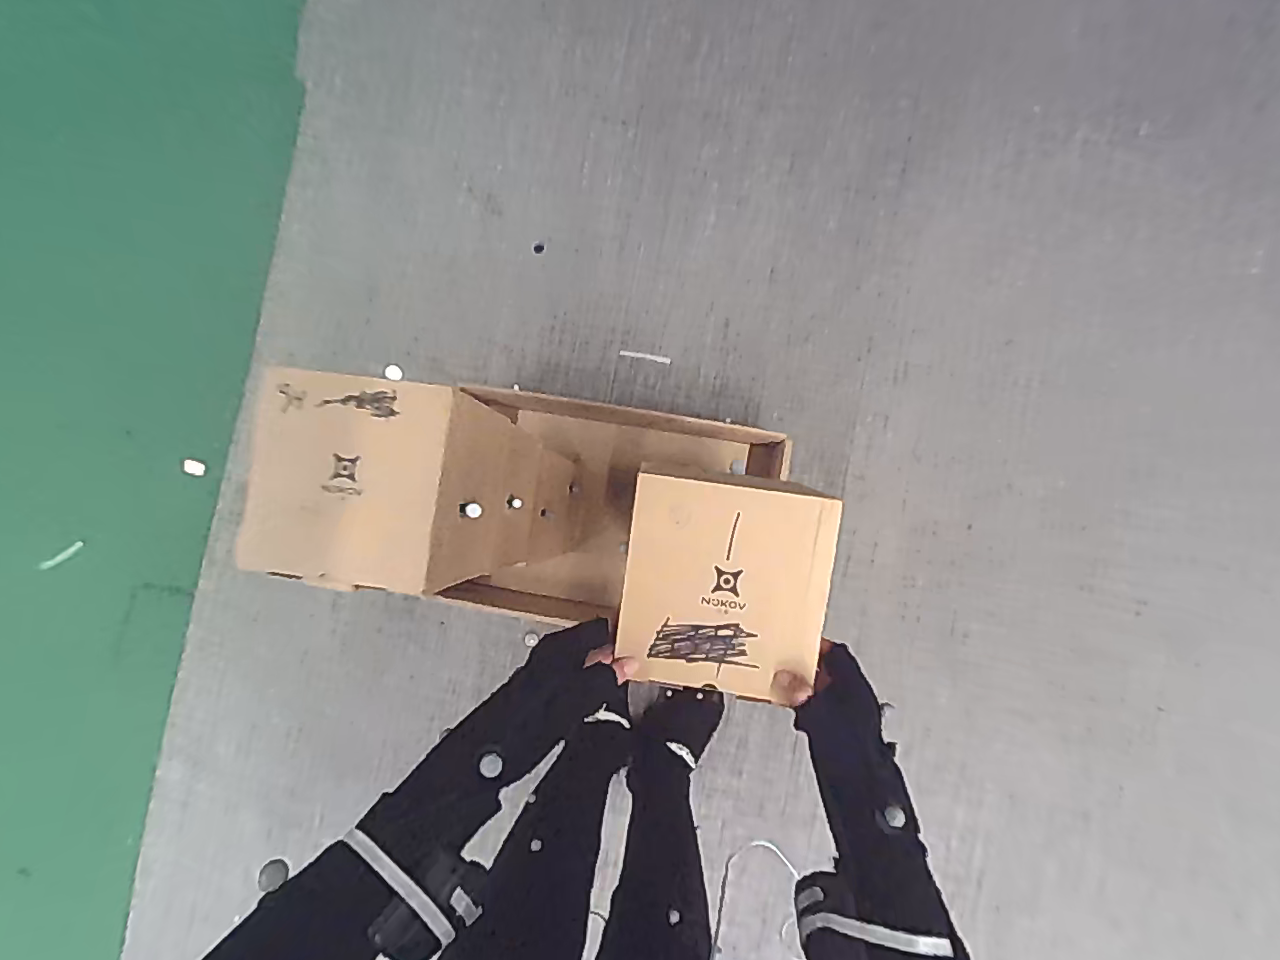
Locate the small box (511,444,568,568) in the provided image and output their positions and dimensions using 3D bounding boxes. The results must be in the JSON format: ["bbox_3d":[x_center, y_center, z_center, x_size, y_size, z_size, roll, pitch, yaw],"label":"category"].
[{"bbox_3d":[-0.216,0.029,0.843,0.168,0.176,0.179,9,88,4],"label":"small box"}]

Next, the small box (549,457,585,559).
[{"bbox_3d":[-0.205,0.039,1.006,0.168,0.176,0.179,11,88,5],"label":"small box"}]

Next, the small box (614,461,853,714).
[{"bbox_3d":[0.079,0.085,0.516,0.168,0.176,0.179,10,96,3],"label":"small box"}]

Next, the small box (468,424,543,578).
[{"bbox_3d":[-0.229,0.015,0.681,0.168,0.176,0.179,8,87,4],"label":"small box"}]

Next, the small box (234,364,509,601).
[{"bbox_3d":[-0.236,0.003,0.518,0.168,0.176,0.179,8,89,3],"label":"small box"}]
